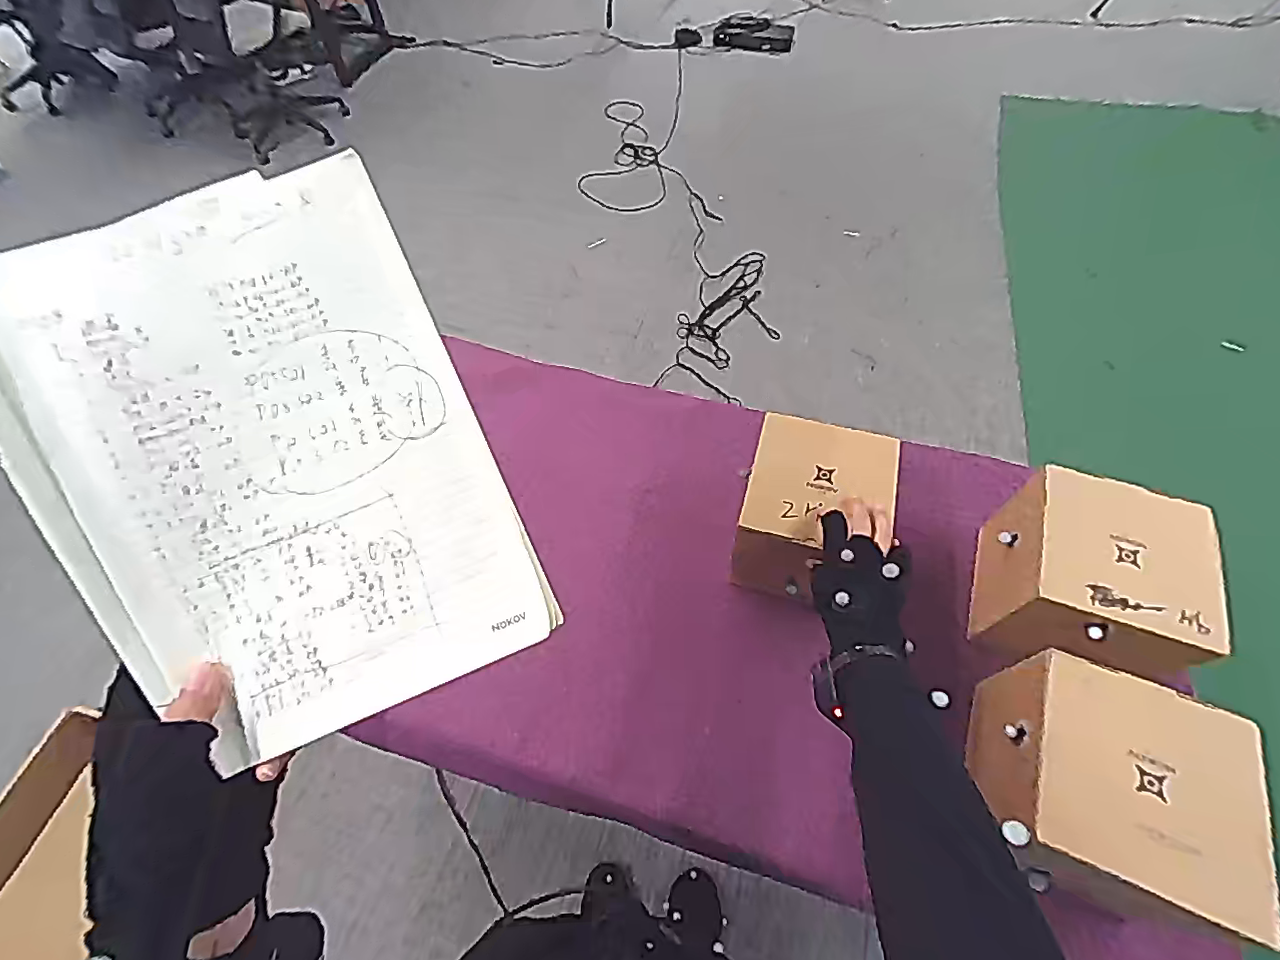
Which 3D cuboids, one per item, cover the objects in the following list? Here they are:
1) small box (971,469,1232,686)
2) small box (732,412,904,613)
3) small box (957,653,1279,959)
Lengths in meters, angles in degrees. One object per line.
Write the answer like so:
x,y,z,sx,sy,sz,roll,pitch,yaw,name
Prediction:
0.516,0.122,0.633,0.168,0.176,0.179,19,60,15,small box
0.221,0.046,0.698,0.168,0.176,0.179,14,60,12,small box
0.437,0.302,0.525,0.168,0.176,0.179,21,62,17,small box
